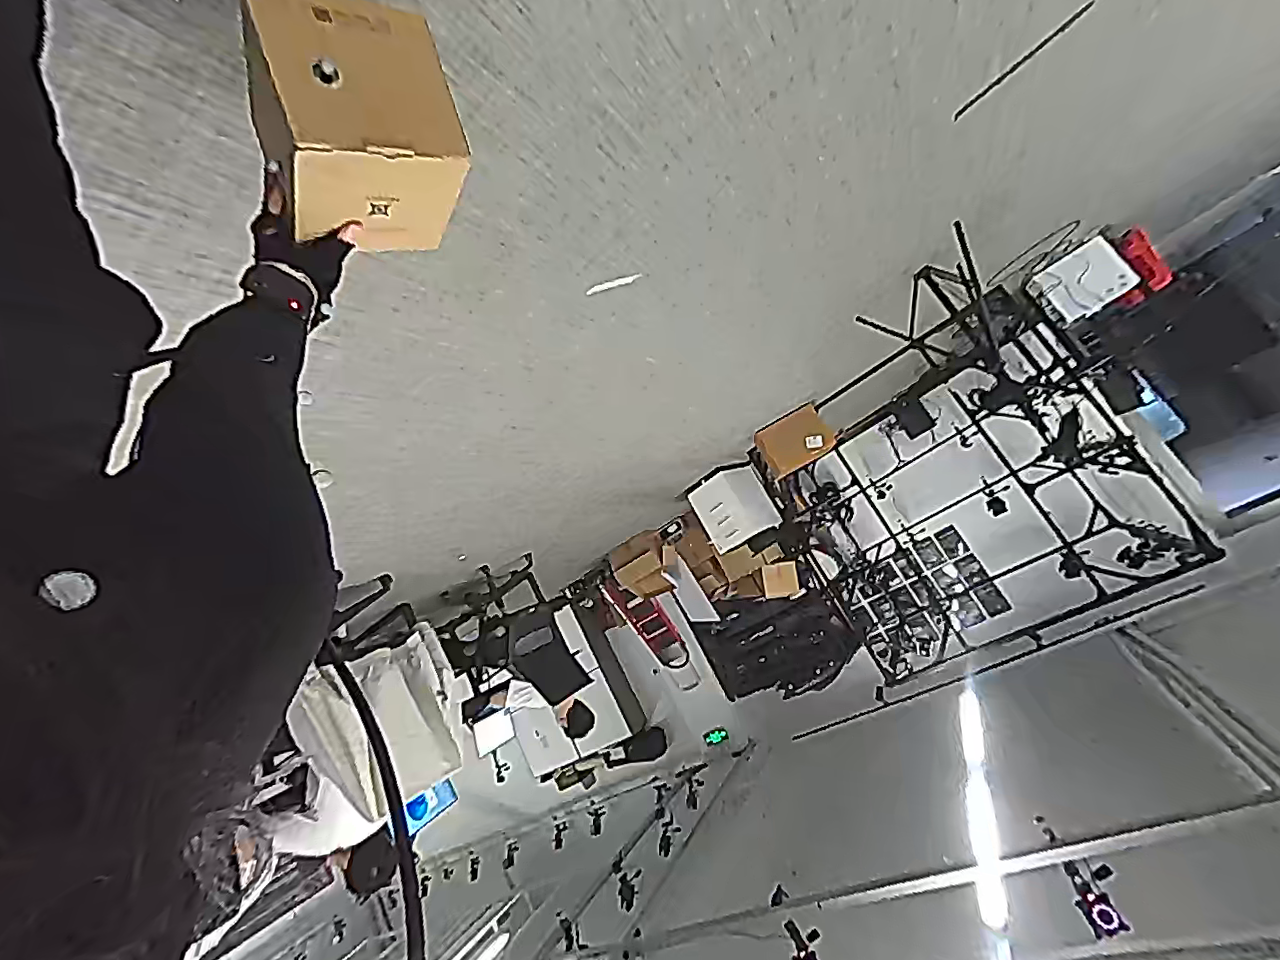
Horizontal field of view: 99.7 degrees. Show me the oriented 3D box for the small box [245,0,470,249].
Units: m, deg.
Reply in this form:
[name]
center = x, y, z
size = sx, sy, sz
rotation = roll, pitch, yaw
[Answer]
[small box]
center = -0.311, -0.377, 0.592
size = 0.168, 0.176, 0.179
rotation = -17, 179, -35
